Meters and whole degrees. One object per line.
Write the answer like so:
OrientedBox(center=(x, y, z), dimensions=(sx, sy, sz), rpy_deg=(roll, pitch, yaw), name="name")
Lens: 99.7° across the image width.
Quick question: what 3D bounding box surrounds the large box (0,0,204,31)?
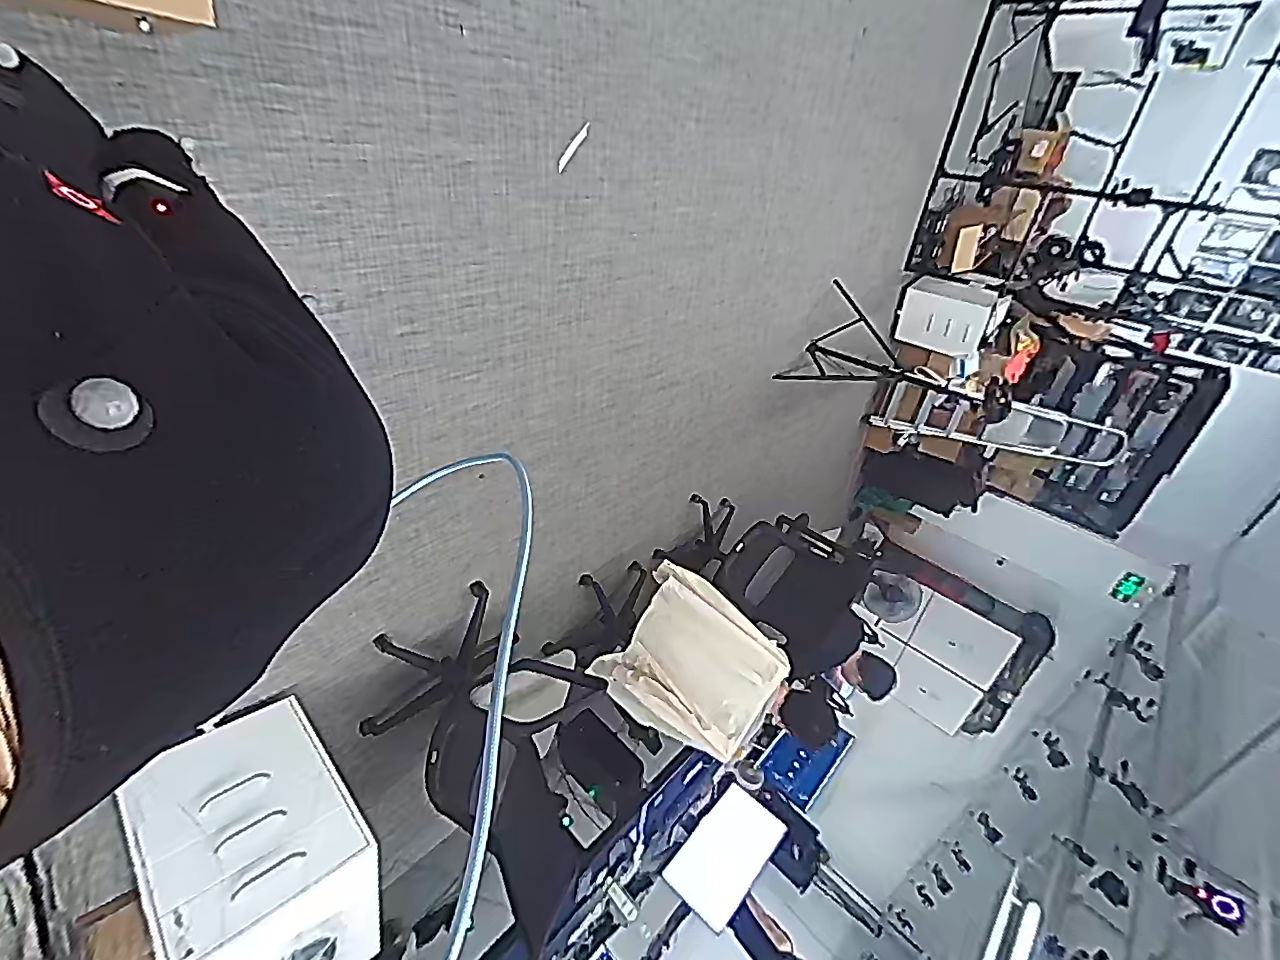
OrientedBox(center=(-0.816, -0.748, 0.611), dimensions=(0.408, 0.320, 0.320), rpy_deg=(-23, 132, -43), name="large box")
